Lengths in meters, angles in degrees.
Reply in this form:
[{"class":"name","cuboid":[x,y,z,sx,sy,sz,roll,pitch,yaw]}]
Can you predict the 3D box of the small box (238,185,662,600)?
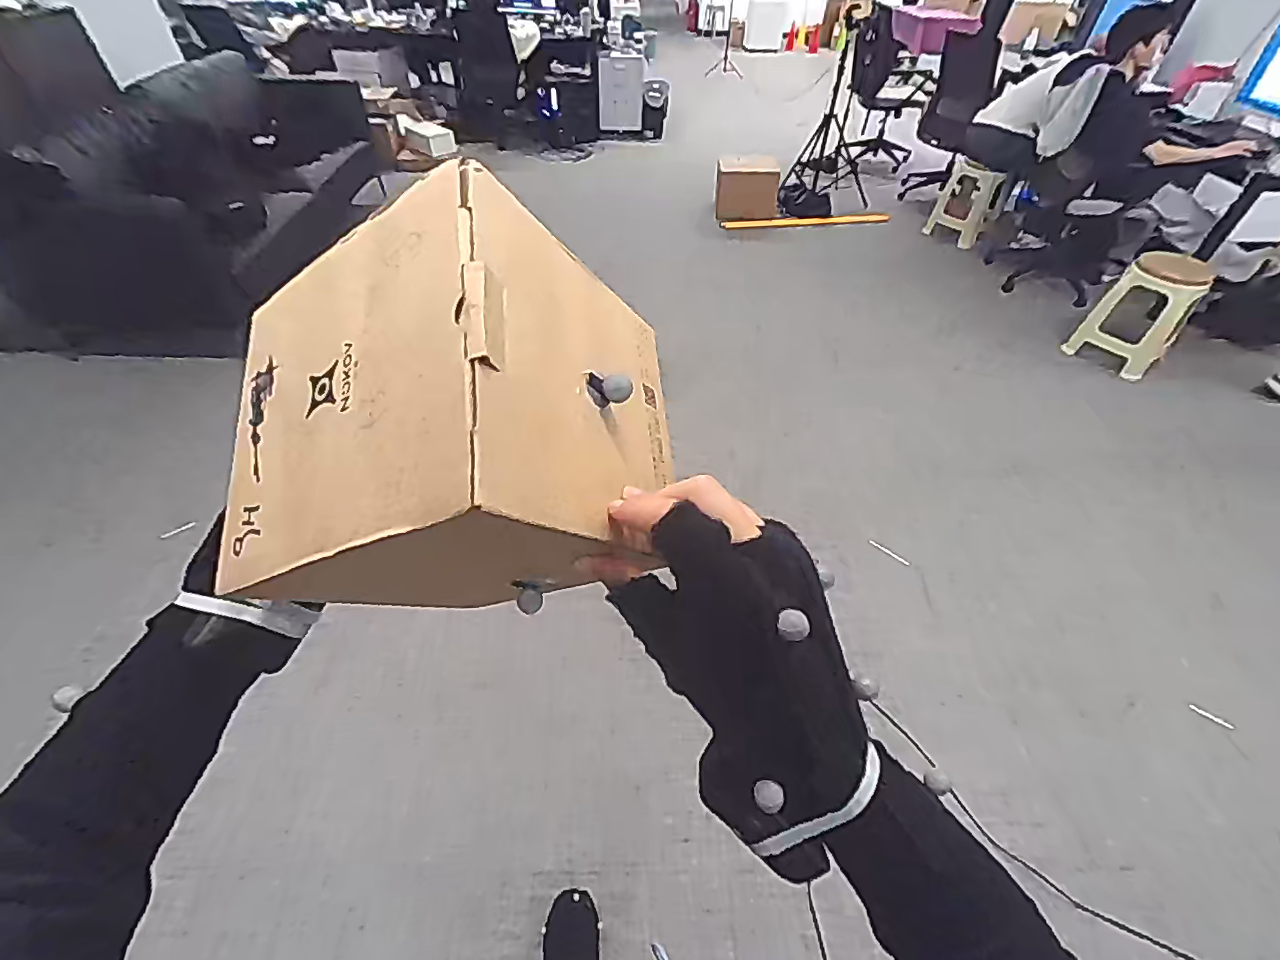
[{"class":"small box","cuboid":[-0.097,-0.023,0.329,0.179,0.176,0.168,-16,68,26]}]
